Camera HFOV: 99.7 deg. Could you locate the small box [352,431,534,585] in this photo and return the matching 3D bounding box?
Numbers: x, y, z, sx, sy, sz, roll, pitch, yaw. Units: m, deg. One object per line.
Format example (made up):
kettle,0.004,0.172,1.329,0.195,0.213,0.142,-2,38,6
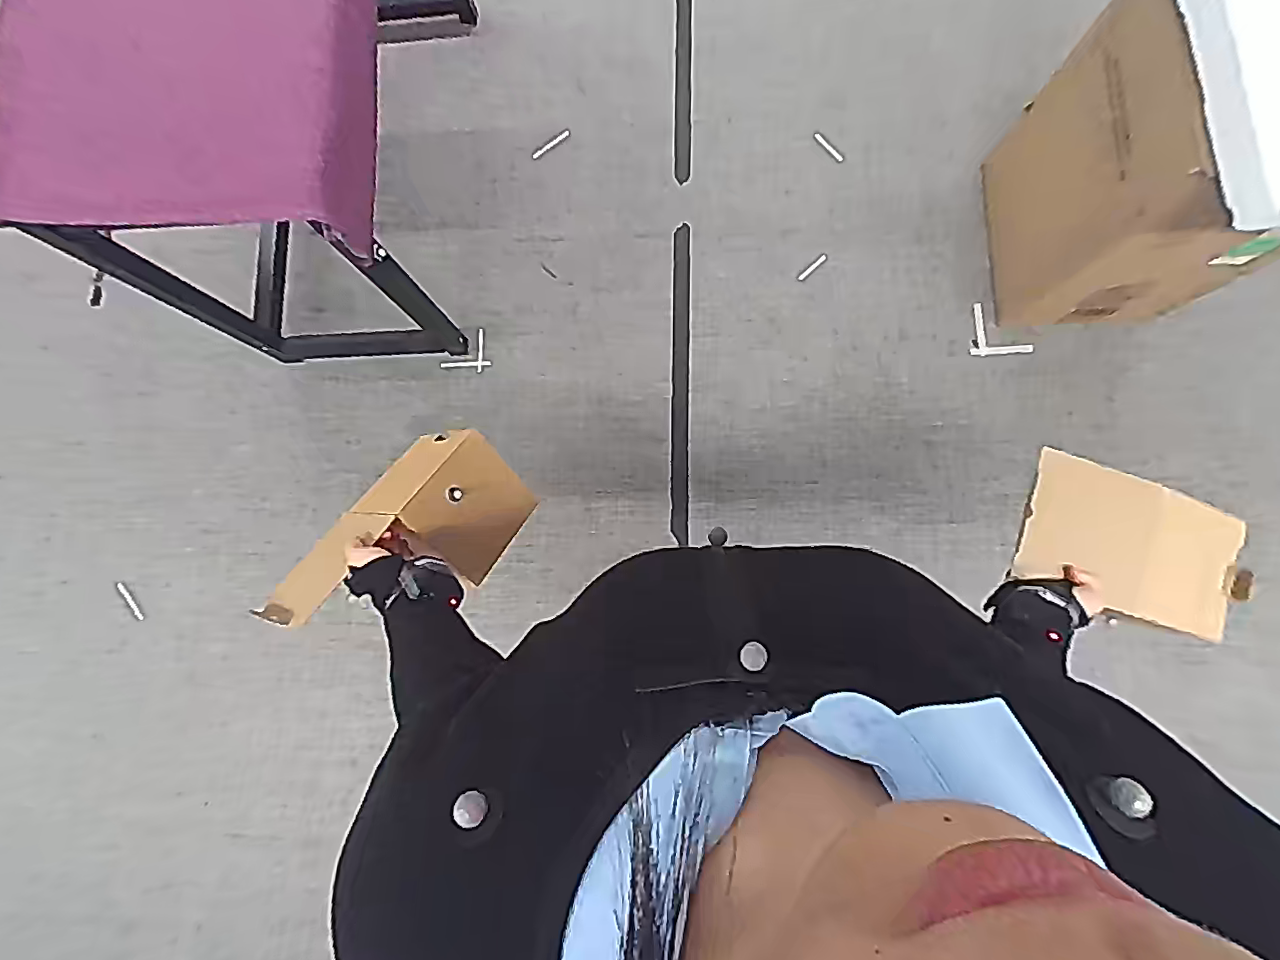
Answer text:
small box,-0.302,0.046,0.858,0.168,0.176,0.179,-2,44,39
